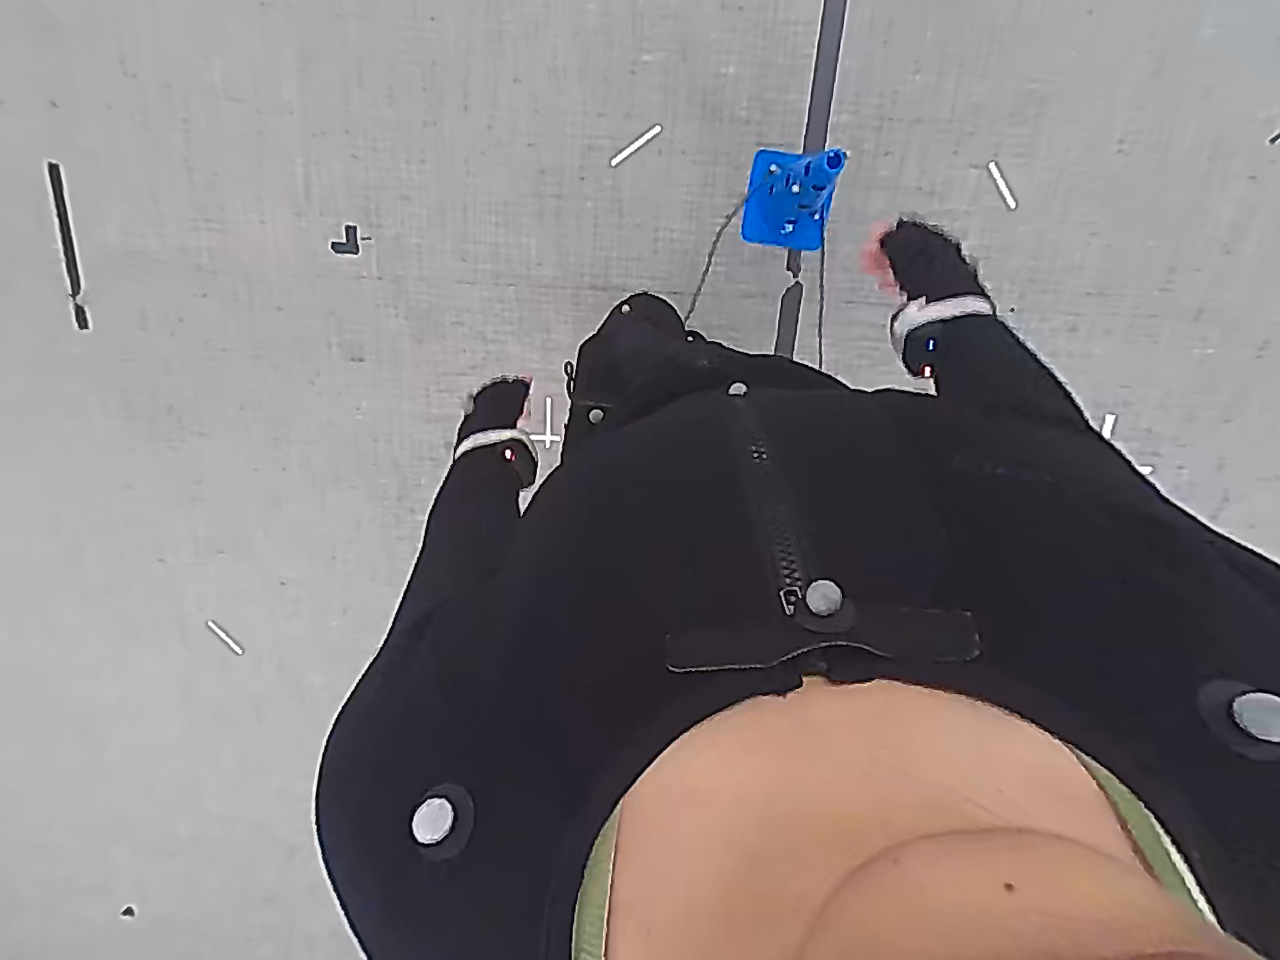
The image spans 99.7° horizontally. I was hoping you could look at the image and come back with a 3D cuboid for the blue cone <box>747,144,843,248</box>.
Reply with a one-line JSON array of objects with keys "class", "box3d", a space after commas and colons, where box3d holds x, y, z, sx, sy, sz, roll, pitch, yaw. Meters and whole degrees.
[{"class": "blue cone", "box3d": [0.341, -0.601, 1.106, 0.193, 0.380, 0.192, 7, 107, 1]}]
